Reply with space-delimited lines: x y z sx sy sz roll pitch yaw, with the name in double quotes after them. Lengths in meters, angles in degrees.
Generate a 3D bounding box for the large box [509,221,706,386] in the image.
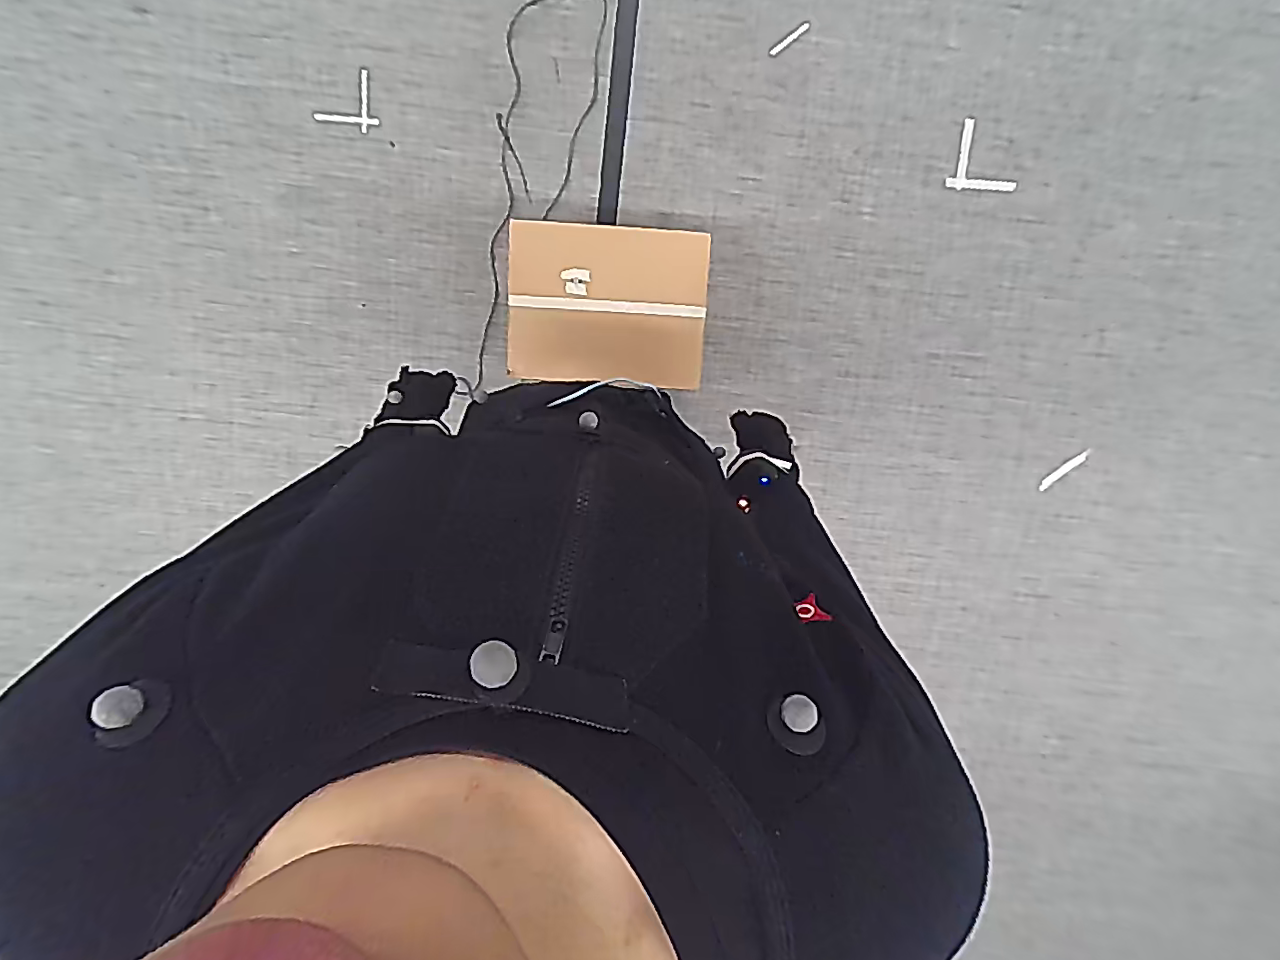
-0.069 -0.391 1.260 0.408 0.320 0.320 4 101 -1 "large box"
